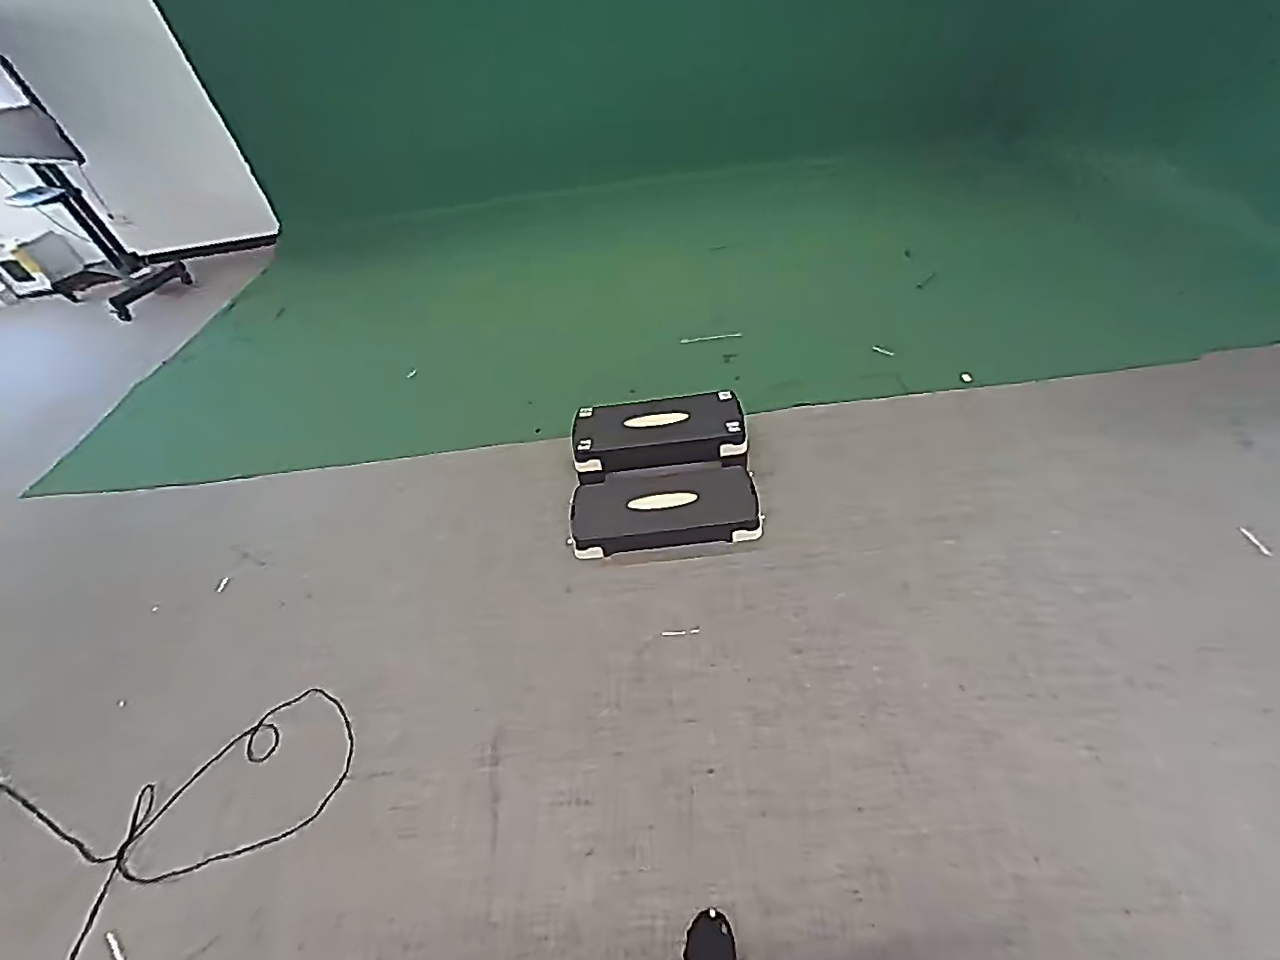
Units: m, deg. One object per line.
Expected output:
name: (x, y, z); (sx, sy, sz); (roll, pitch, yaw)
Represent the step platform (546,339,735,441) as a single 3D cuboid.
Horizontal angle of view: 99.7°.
step platform: (0.007, -0.335, 2.023); (0.684, 0.204, 0.286); (-7, 46, 4)
